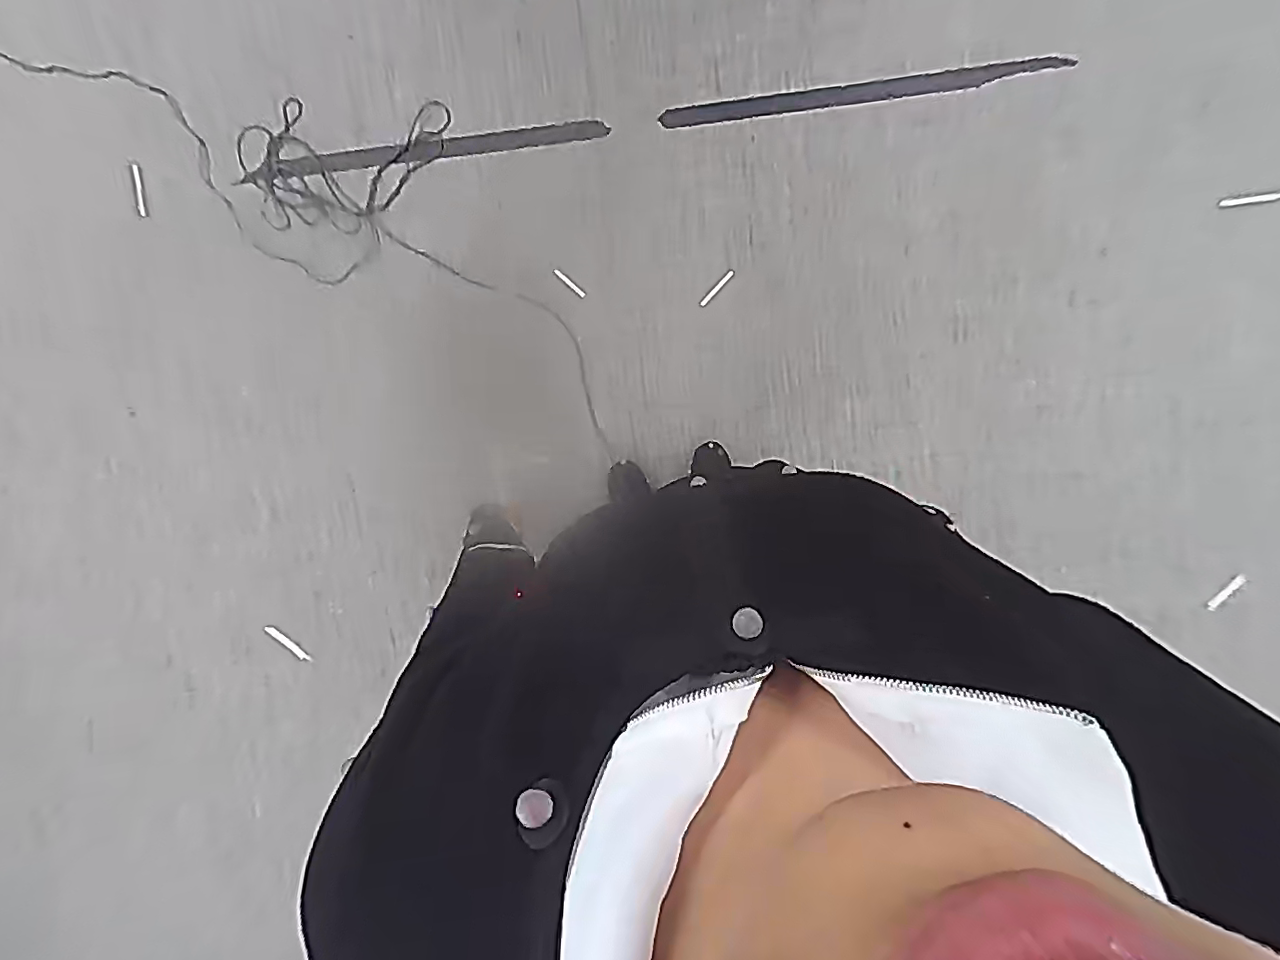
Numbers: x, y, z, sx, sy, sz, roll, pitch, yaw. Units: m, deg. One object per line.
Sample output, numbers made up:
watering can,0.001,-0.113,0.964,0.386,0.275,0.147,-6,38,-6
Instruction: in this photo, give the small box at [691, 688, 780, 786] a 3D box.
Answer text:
small box,0.219,0.577,1.267,0.179,0.176,0.168,-11,94,3
